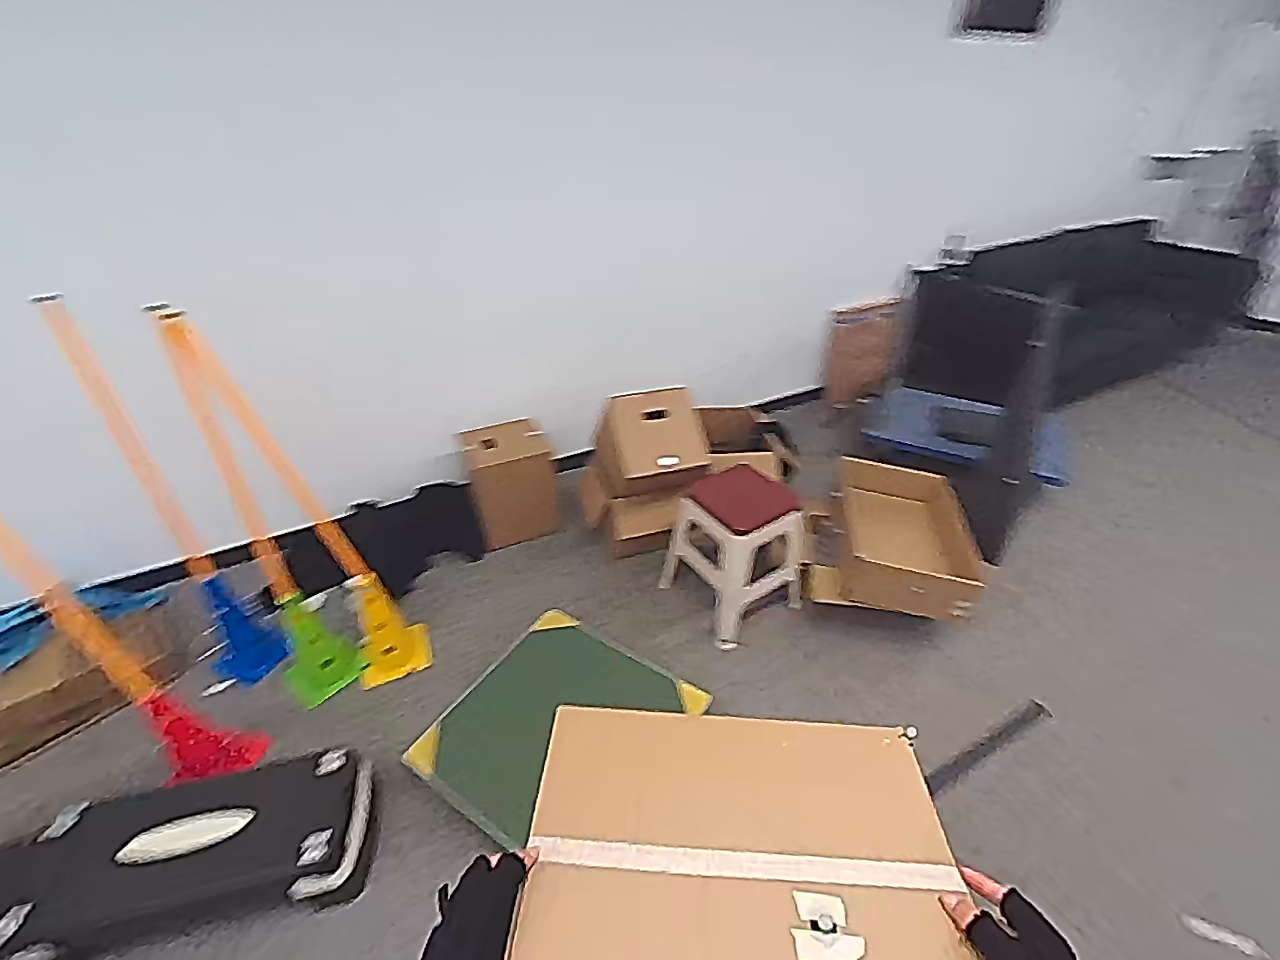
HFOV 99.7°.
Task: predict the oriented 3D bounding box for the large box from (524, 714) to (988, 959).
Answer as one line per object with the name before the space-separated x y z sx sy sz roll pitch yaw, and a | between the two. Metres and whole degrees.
large box | 0.102 0.500 0.594 0.408 0.320 0.320 3 32 4
